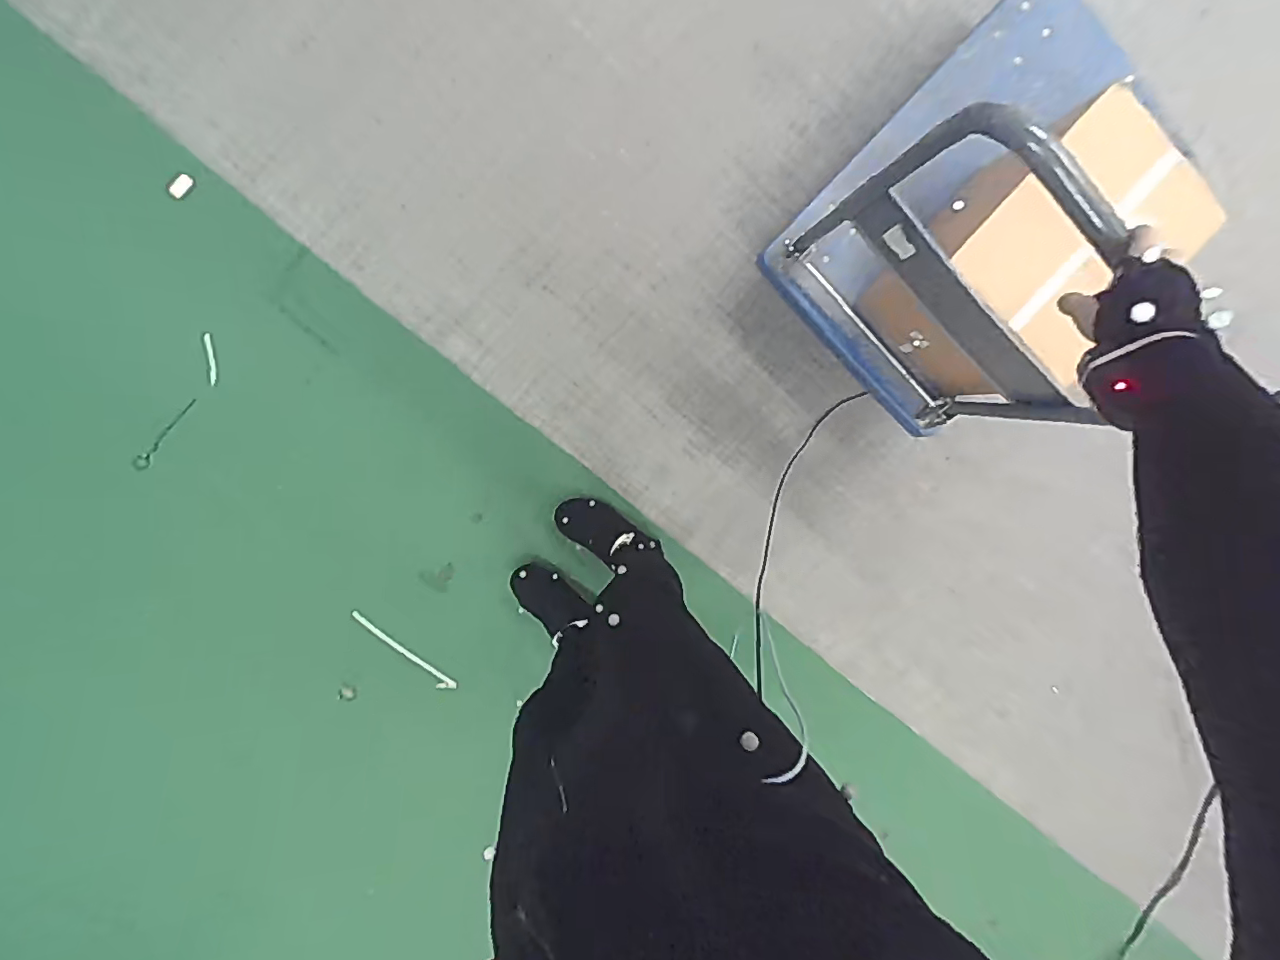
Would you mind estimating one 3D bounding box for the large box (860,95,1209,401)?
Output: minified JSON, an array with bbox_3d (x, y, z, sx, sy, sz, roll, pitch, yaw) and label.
[{"bbox_3d":[0.734,-0.409,1.068,0.320,0.320,0.408,42,91,-9],"label":"large box"}]
